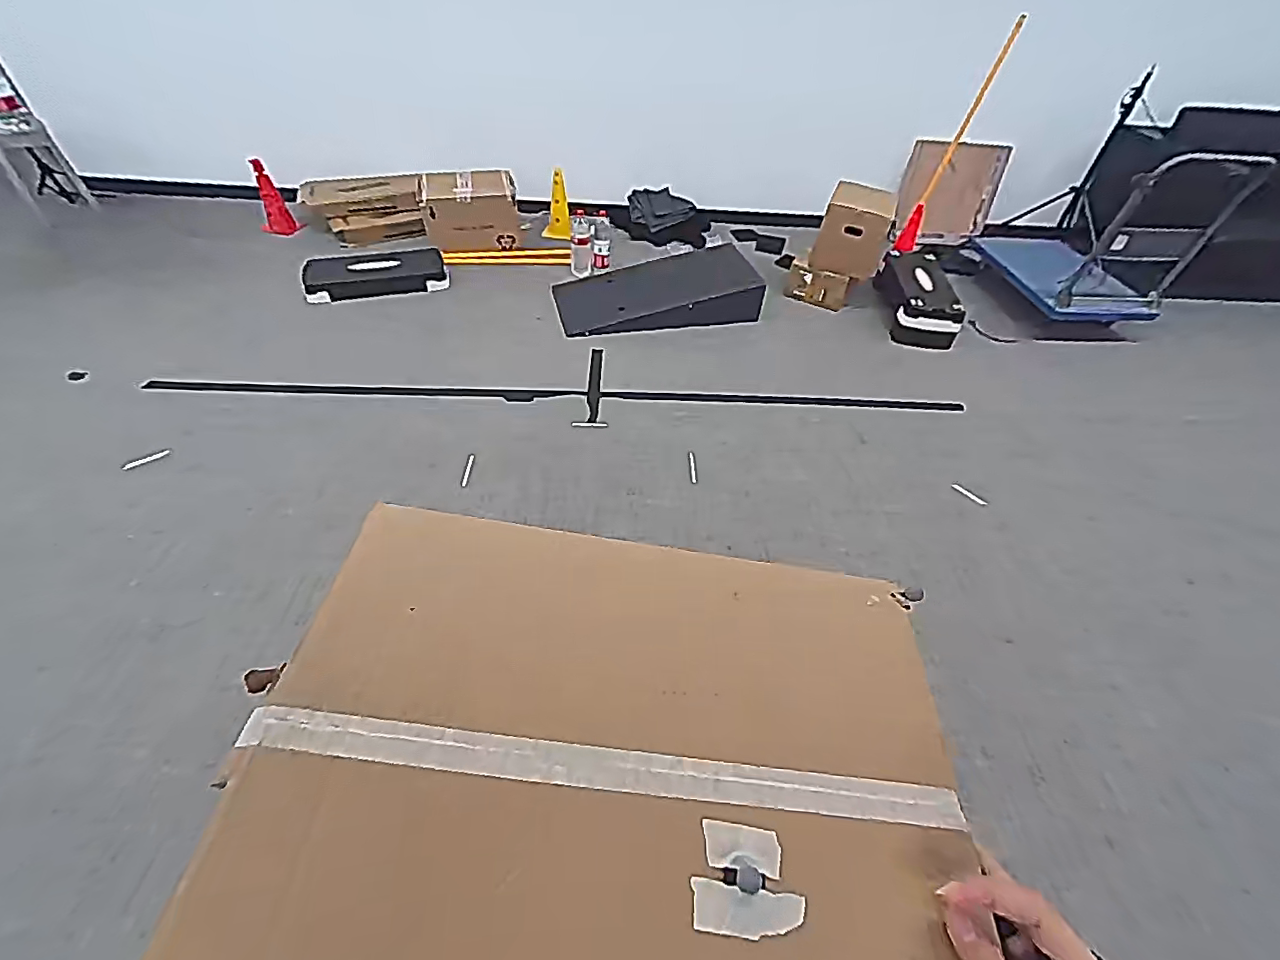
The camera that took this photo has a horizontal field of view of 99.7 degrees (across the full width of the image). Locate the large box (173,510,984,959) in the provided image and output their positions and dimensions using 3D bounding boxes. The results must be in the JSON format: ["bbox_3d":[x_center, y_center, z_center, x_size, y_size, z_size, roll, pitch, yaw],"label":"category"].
[{"bbox_3d":[-0.032,0.261,0.434,0.408,0.320,0.320,10,50,-4],"label":"large box"}]
